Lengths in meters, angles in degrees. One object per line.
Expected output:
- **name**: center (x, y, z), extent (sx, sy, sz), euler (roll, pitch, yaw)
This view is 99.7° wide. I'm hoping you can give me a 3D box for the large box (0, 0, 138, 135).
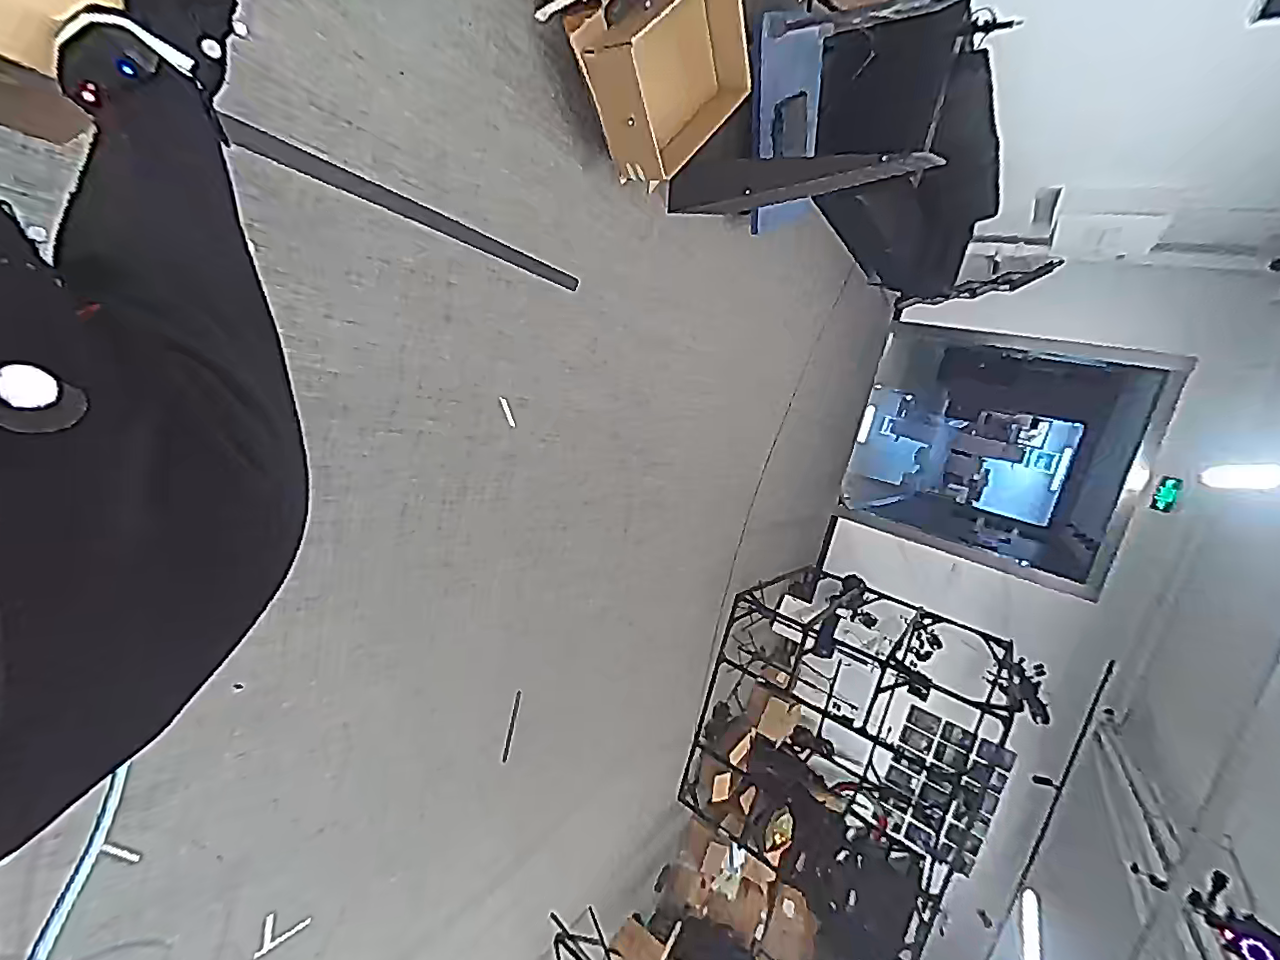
- **large box**: center (-0.635, -0.505, 0.359), extent (0.408, 0.320, 0.320), euler (2, 104, -56)
